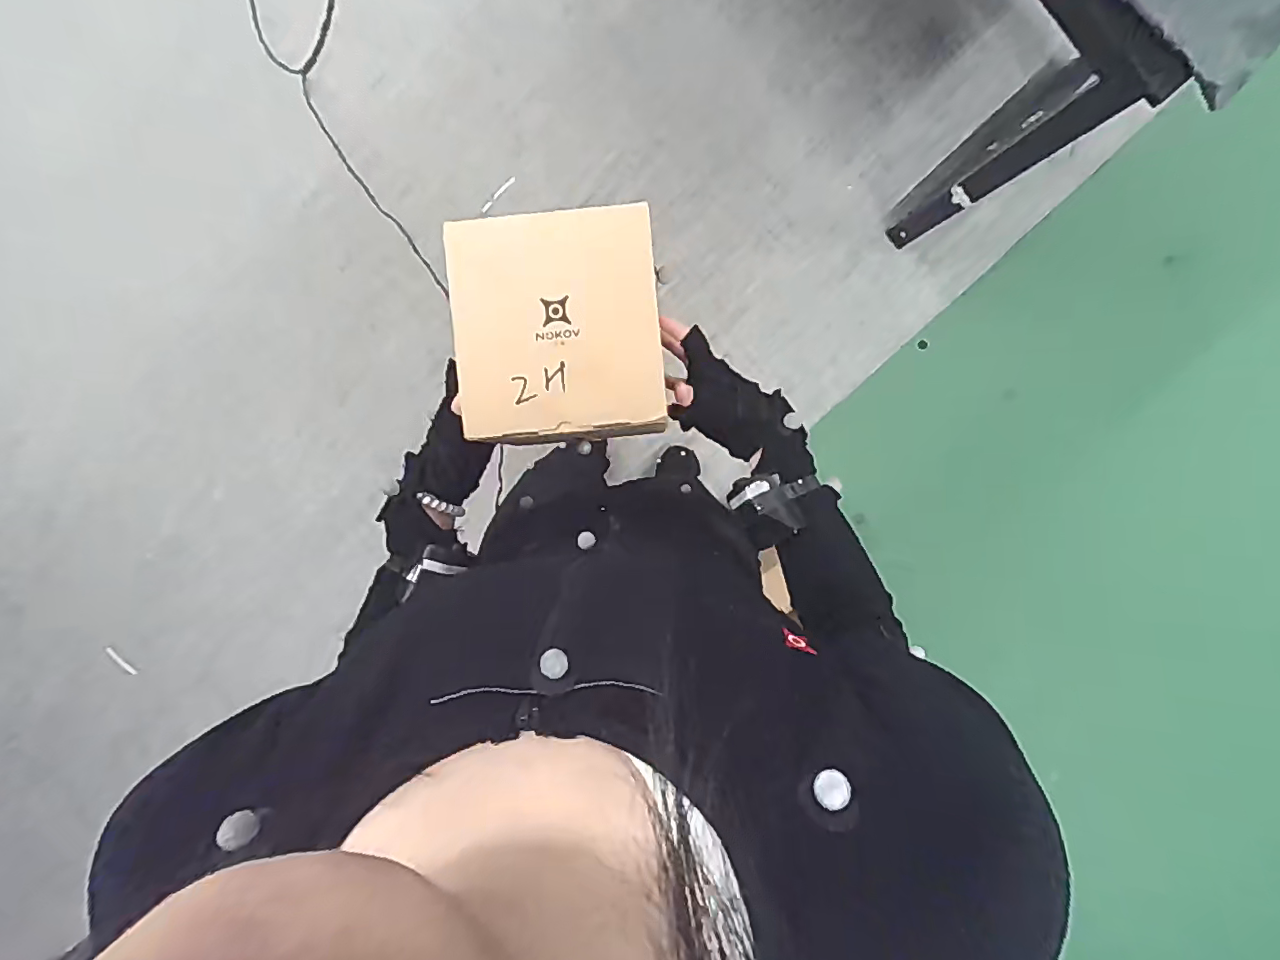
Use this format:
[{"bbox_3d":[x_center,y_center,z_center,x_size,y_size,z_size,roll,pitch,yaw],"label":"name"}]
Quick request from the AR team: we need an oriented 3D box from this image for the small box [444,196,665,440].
[{"bbox_3d":[-0.066,-0.132,0.503,0.168,0.176,0.179,-4,92,2],"label":"small box"}]
